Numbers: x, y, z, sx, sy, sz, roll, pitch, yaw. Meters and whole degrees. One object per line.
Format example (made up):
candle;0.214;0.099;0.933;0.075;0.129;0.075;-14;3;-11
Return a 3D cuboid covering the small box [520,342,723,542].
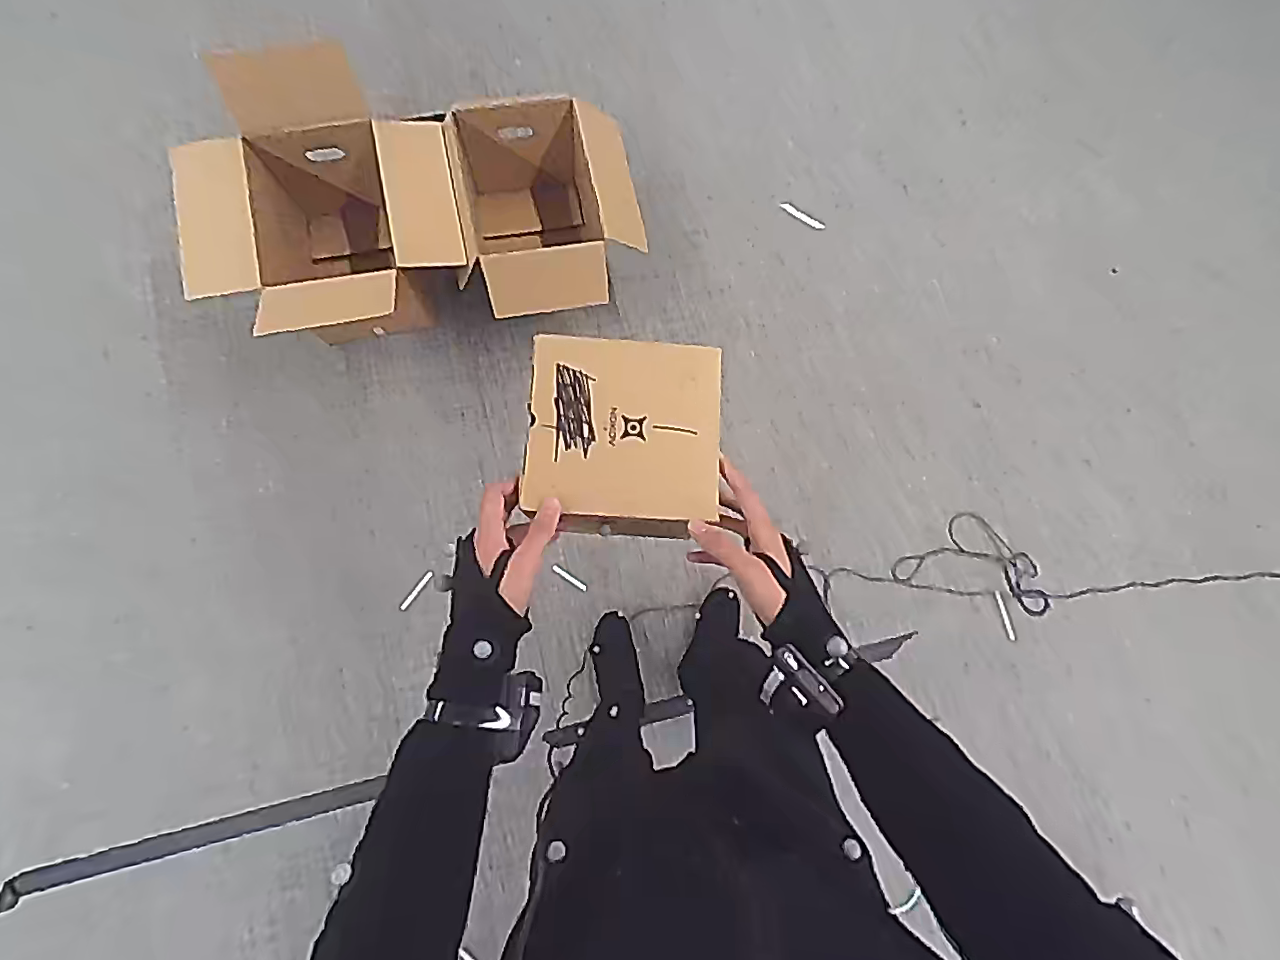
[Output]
small box;-0.017;-0.027;0.561;0.179;0.176;0.168;3;78;-3
